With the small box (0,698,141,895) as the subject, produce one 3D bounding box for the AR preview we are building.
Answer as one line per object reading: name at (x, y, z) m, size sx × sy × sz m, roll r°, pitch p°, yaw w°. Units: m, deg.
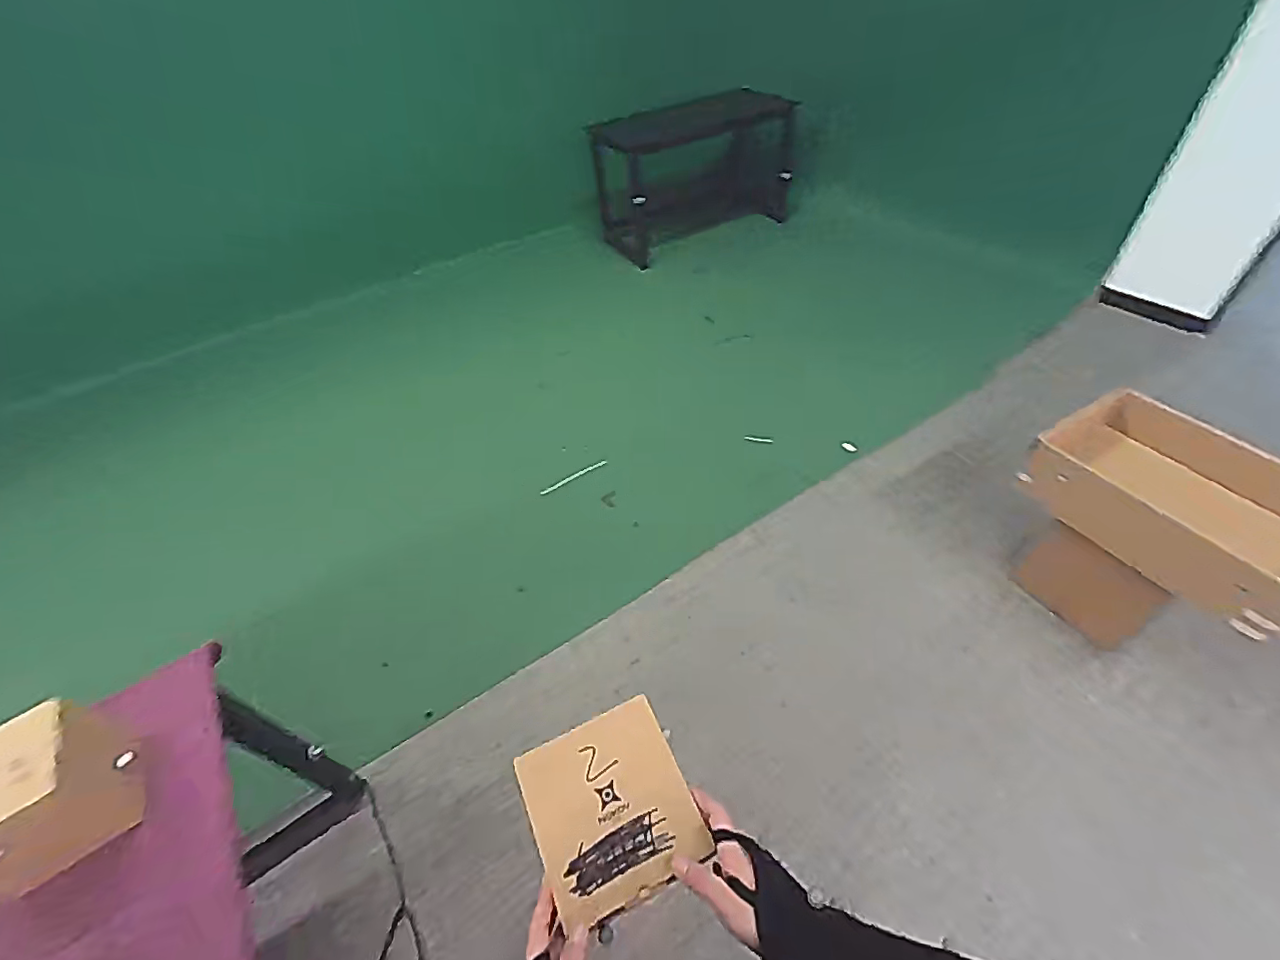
small box at (-0.898, 0.468, 0.798) m, size 0.179 × 0.176 × 0.168 m, roll -31°, pitch 51°, yaw -20°
